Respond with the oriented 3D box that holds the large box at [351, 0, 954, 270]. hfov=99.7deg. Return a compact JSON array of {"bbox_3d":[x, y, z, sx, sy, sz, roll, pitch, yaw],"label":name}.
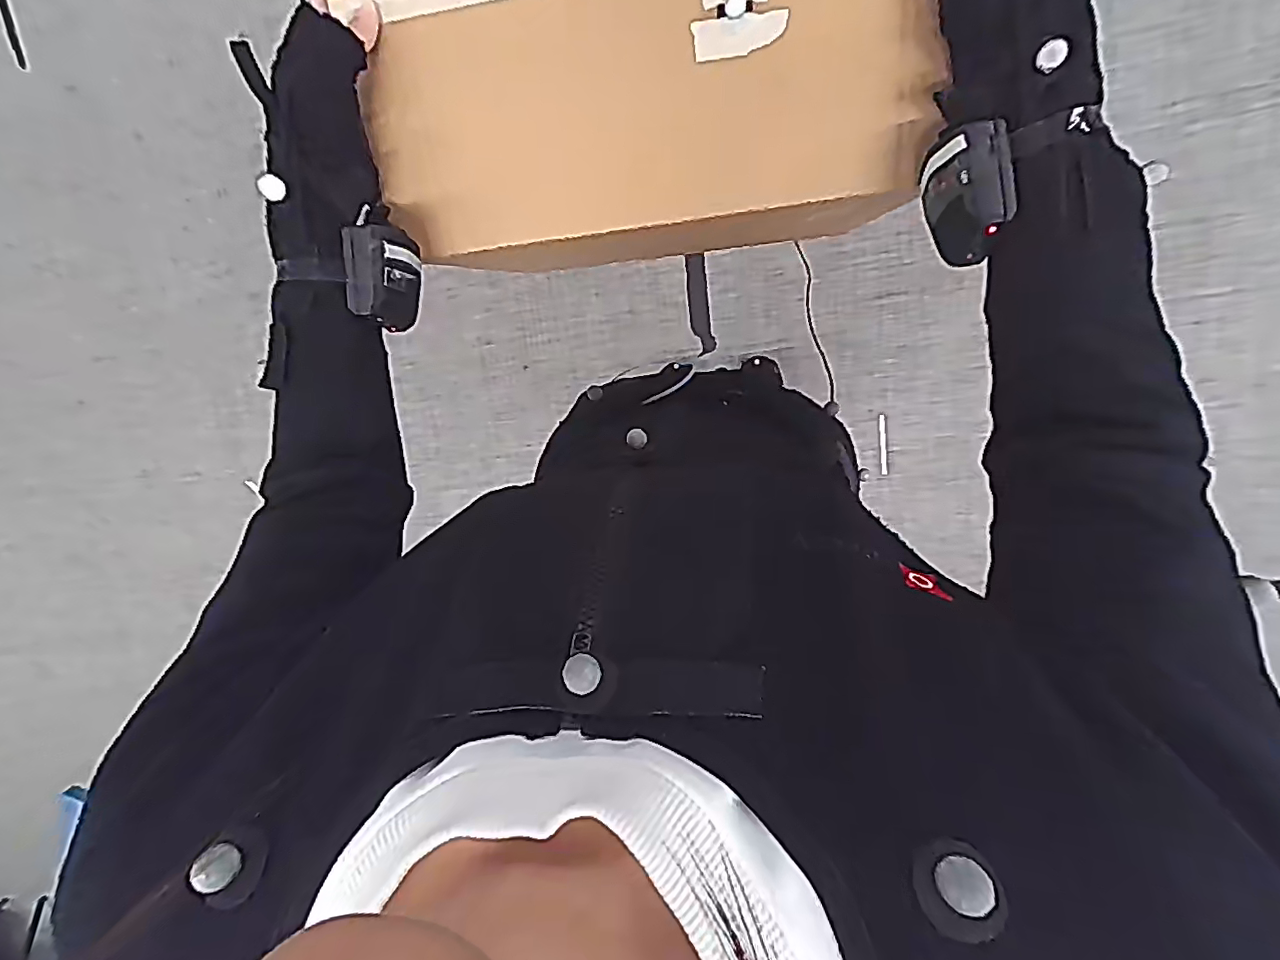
[{"bbox_3d":[0.010,-0.387,0.488,0.408,0.320,0.320,-5,109,9],"label":"large box"}]
